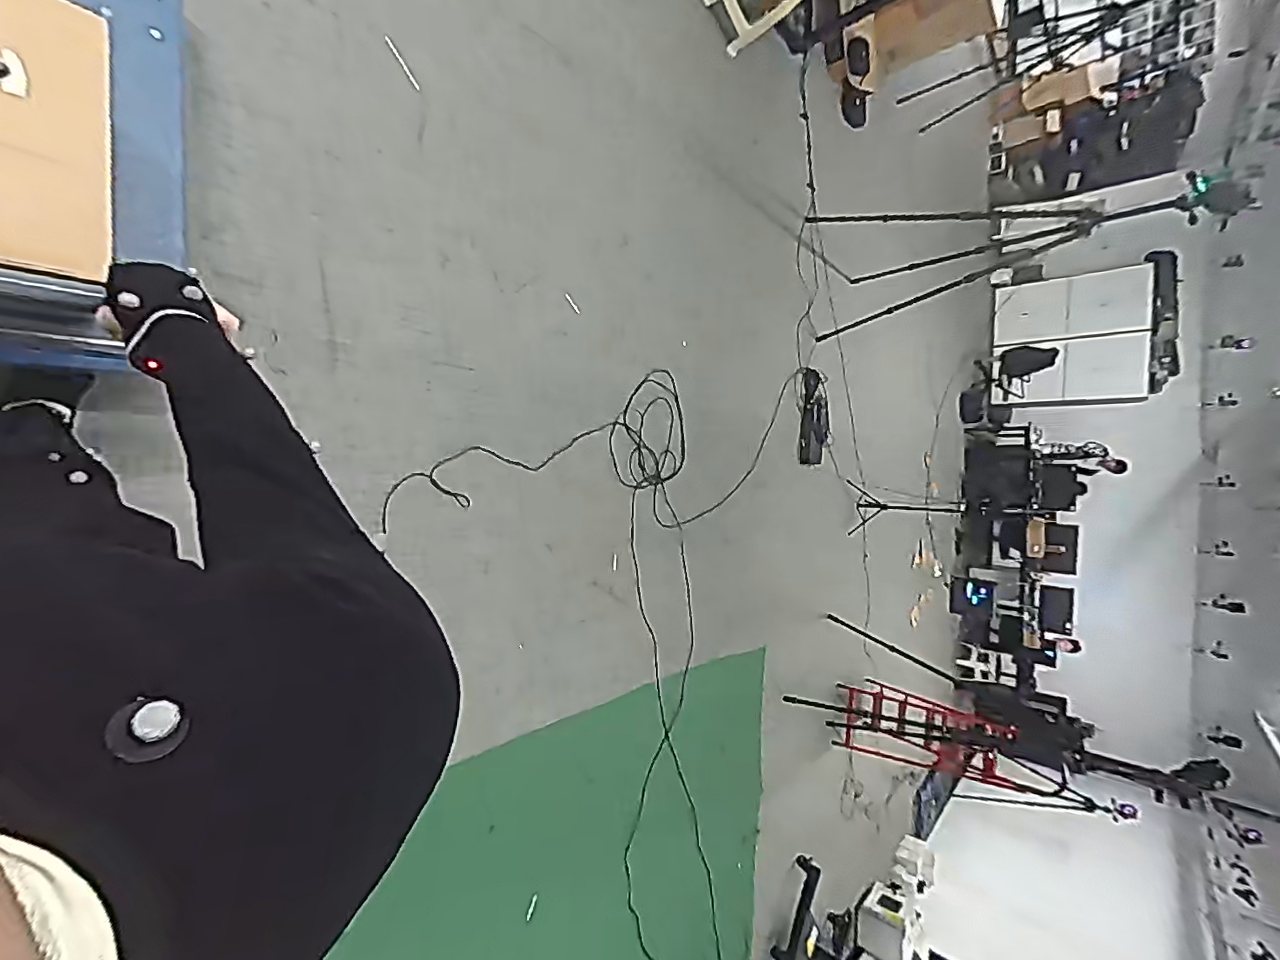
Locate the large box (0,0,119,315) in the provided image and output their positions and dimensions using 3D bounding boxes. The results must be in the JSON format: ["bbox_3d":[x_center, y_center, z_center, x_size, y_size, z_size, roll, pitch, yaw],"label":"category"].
[{"bbox_3d":[-1.026,-0.503,0.822,0.320,0.320,0.408,-2,91,-48],"label":"large box"}]
